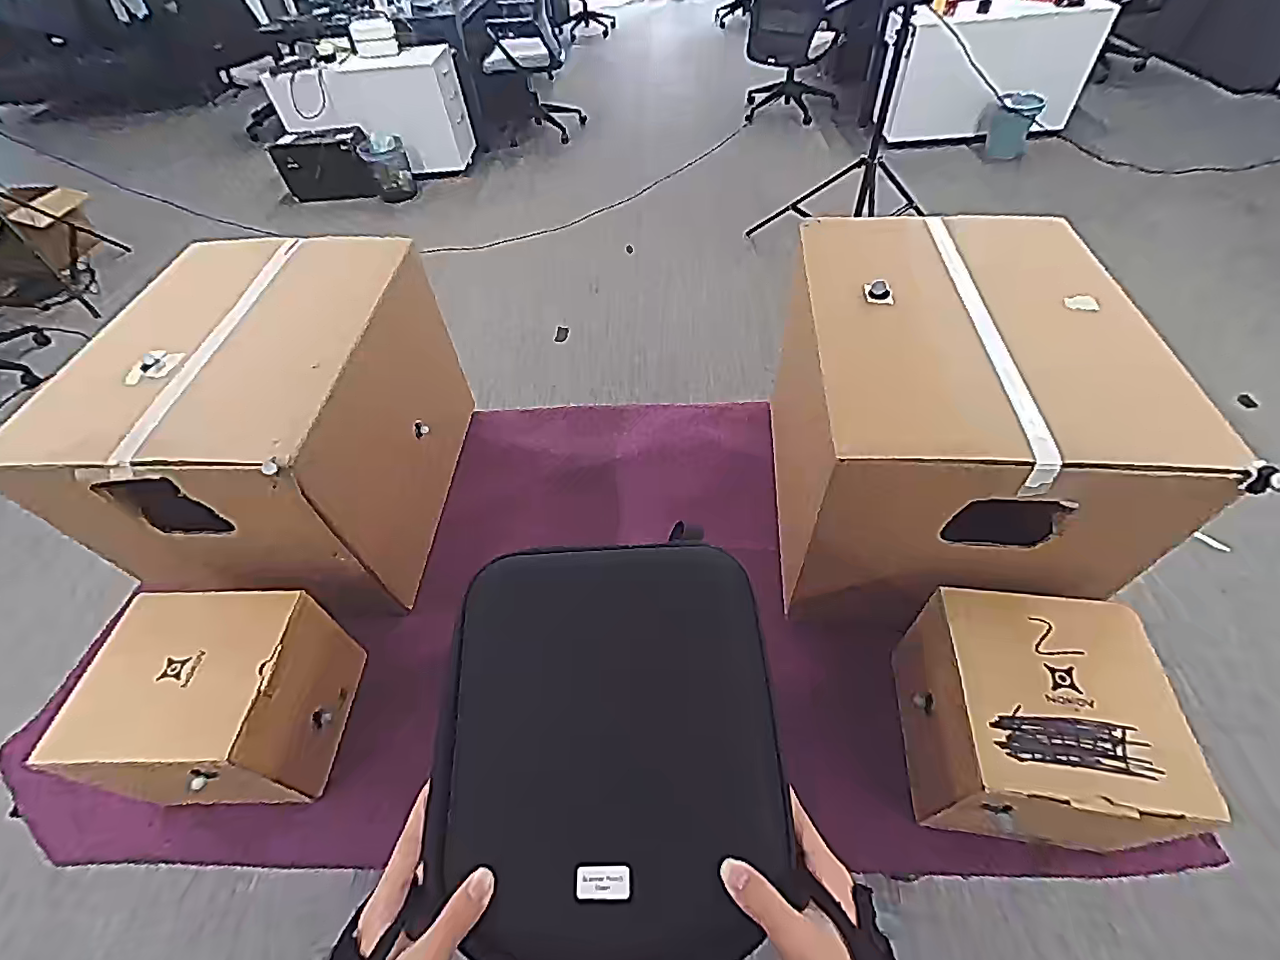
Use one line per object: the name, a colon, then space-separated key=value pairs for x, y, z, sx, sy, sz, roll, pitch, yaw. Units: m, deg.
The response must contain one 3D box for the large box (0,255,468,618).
large box: x=-0.459 y=-0.059 z=0.741 sx=0.320 sy=0.320 sz=0.408 roll=-1 pitch=53 yaw=3
